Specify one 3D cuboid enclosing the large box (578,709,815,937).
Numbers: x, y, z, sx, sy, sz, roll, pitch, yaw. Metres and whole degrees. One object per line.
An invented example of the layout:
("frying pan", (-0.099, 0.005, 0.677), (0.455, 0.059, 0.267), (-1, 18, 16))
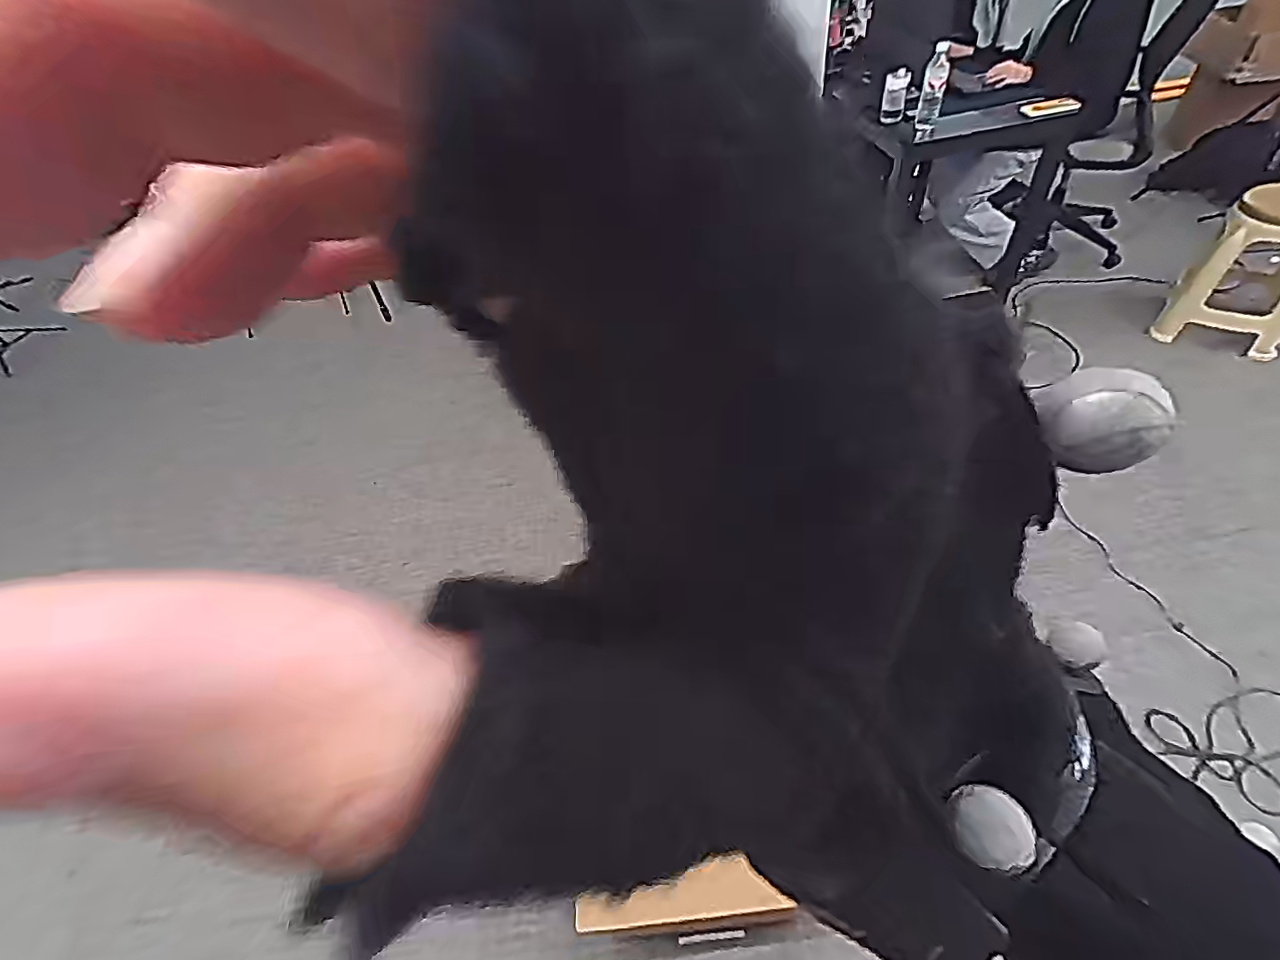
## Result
("large box", (0.102, 0.708, 1.110), (0.408, 0.320, 0.320), (-9, 48, 2))
